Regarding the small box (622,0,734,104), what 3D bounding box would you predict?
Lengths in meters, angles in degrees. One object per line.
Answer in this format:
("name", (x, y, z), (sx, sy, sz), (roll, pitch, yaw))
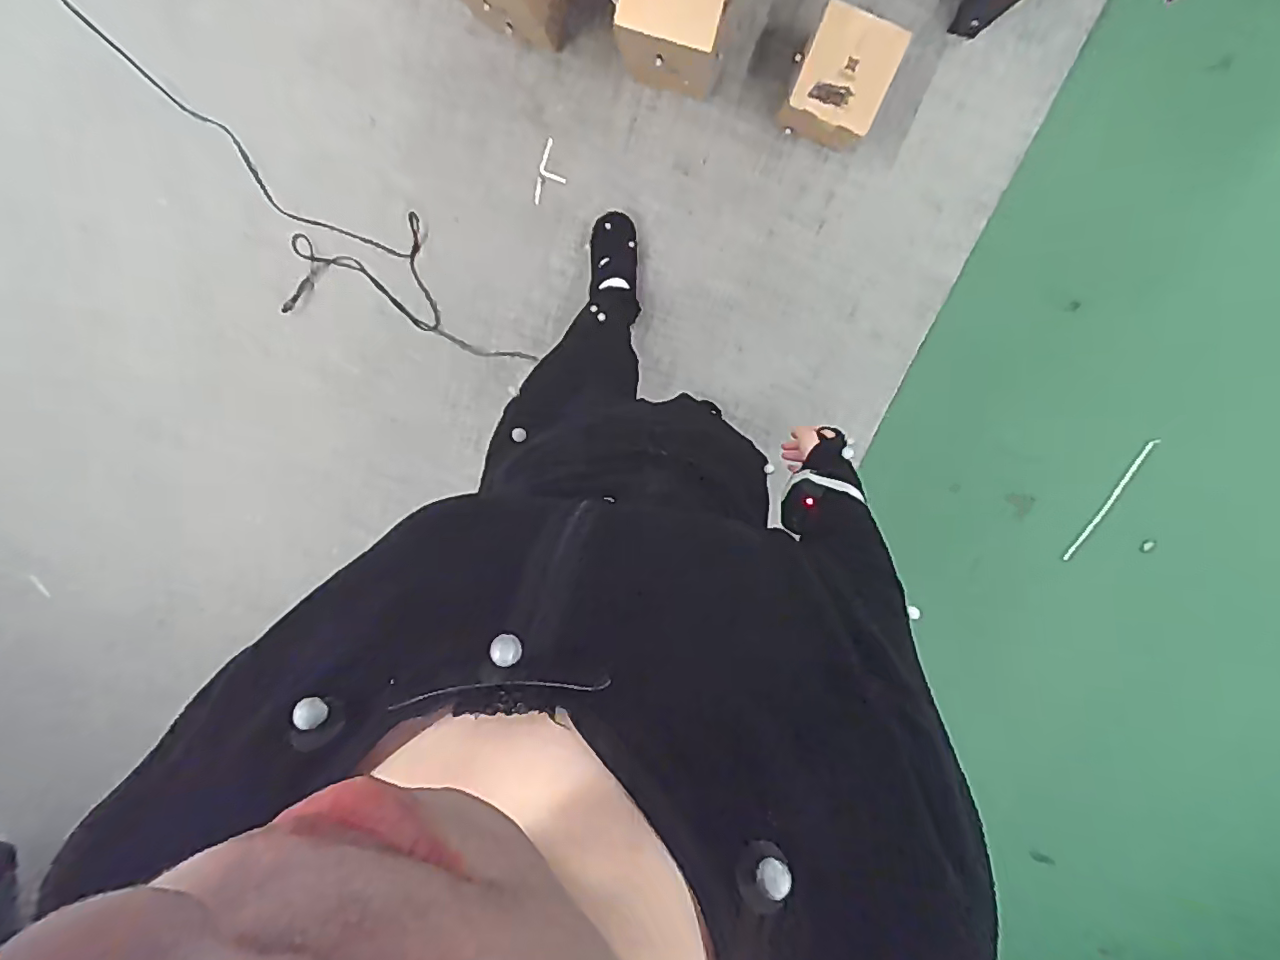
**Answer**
("small box", (0.076, -0.884, 1.077), (0.179, 0.176, 0.168), (18, 112, -2))
